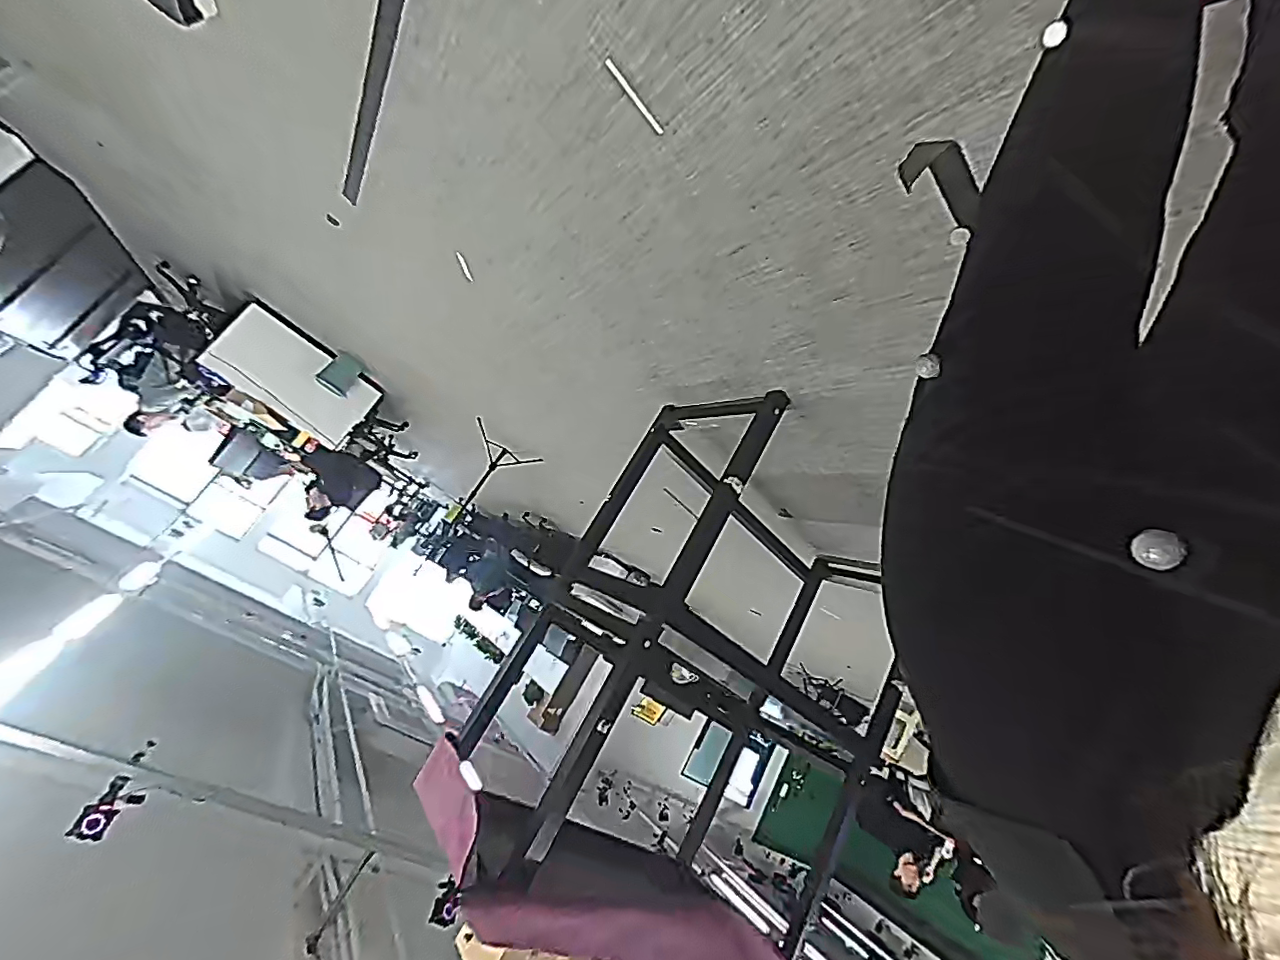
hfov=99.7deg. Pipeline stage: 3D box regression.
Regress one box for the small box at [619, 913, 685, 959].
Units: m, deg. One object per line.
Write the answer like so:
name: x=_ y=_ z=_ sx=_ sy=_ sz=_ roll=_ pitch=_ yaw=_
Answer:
small box: x=0.007 y=1.402 z=1.554 sx=0.168 sy=0.176 sz=0.179 roll=40 pitch=162 yaw=-25

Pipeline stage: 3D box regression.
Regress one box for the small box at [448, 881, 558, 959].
small box: x=-0.329 y=1.115 z=1.315 sx=0.168 sy=0.176 sz=0.179 roll=41 pitch=161 yaw=-31
